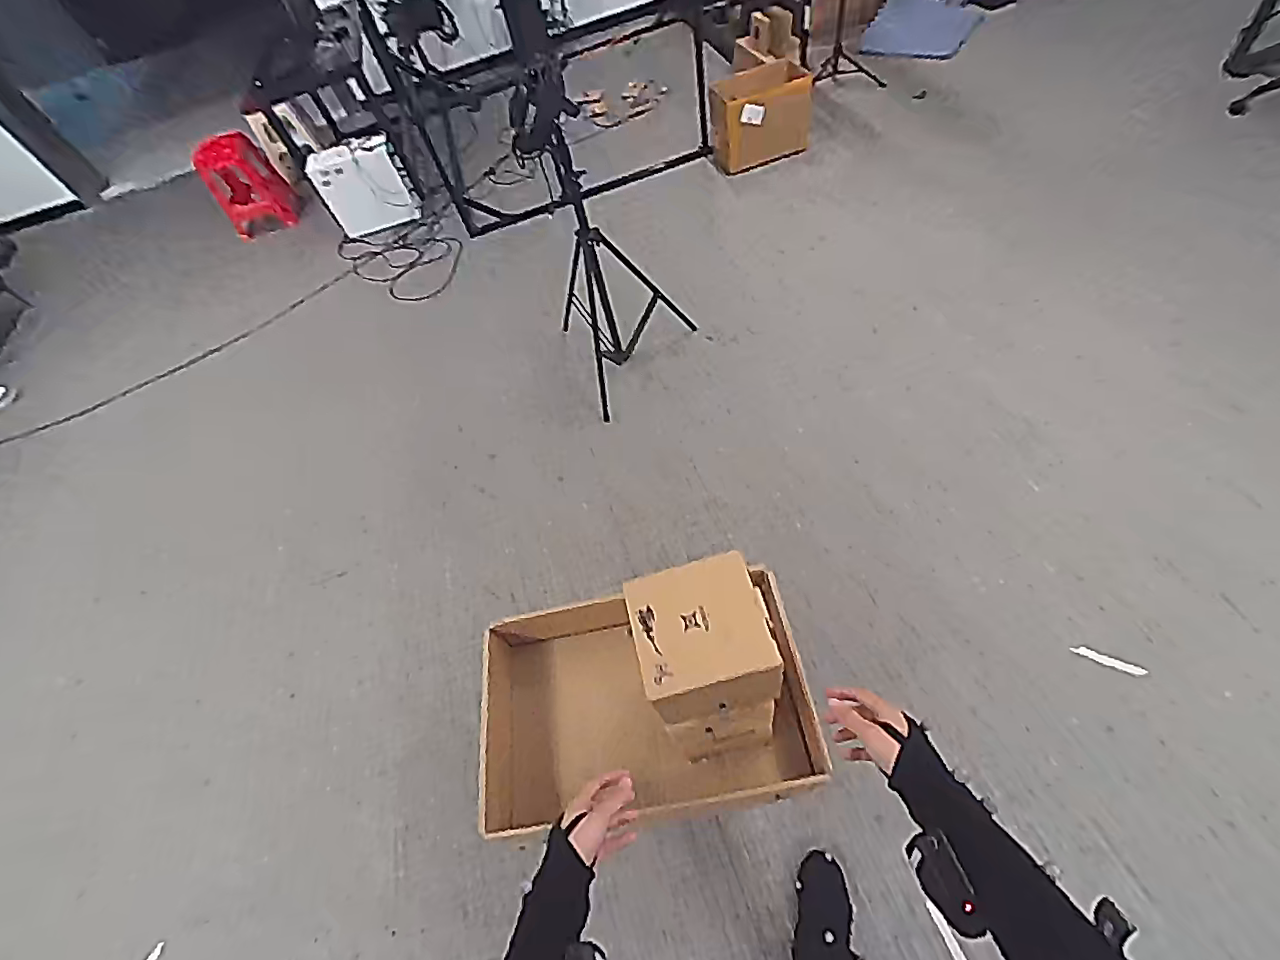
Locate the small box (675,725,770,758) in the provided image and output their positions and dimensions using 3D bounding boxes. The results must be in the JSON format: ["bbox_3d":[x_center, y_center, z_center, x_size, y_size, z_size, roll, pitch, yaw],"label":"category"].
[{"bbox_3d":[0.143,0.414,1.023,0.168,0.176,0.179,-15,54,2],"label":"small box"}]

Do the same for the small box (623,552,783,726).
[{"bbox_3d":[0.087,0.228,0.761,0.179,0.176,0.168,-16,53,1],"label":"small box"}]

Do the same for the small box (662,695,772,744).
[{"bbox_3d":[0.114,0.322,0.892,0.168,0.176,0.179,-14,54,2],"label":"small box"}]
